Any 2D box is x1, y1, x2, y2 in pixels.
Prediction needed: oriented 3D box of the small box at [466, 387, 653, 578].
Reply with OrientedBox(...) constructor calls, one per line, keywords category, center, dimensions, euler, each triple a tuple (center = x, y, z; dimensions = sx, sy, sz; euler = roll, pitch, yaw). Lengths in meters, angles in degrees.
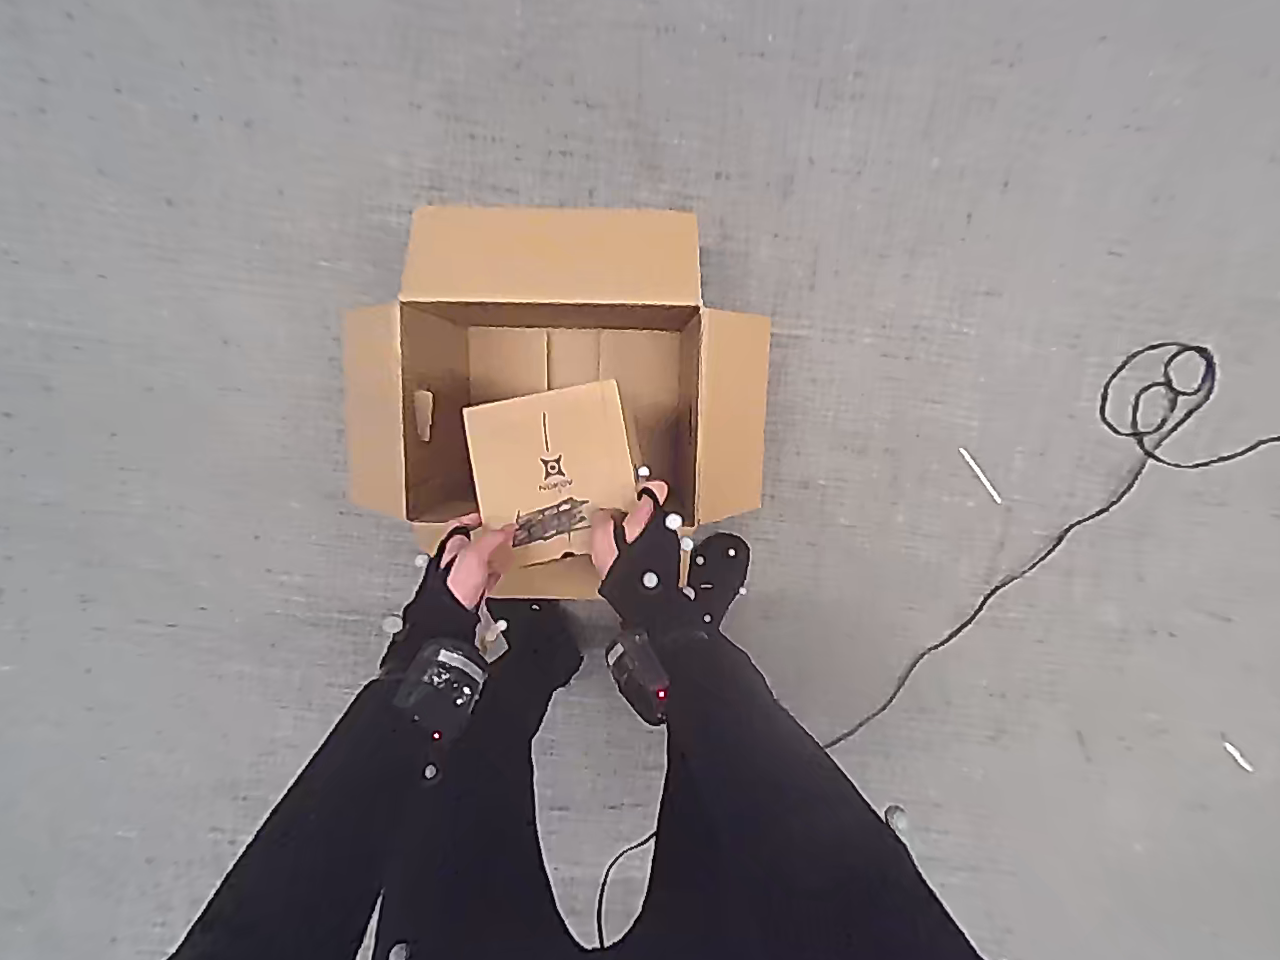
OrientedBox(category="small box", center=(-0.080, 0.003, 0.631), dimensions=(0.168, 0.176, 0.179), euler=(-11, 89, 4))
